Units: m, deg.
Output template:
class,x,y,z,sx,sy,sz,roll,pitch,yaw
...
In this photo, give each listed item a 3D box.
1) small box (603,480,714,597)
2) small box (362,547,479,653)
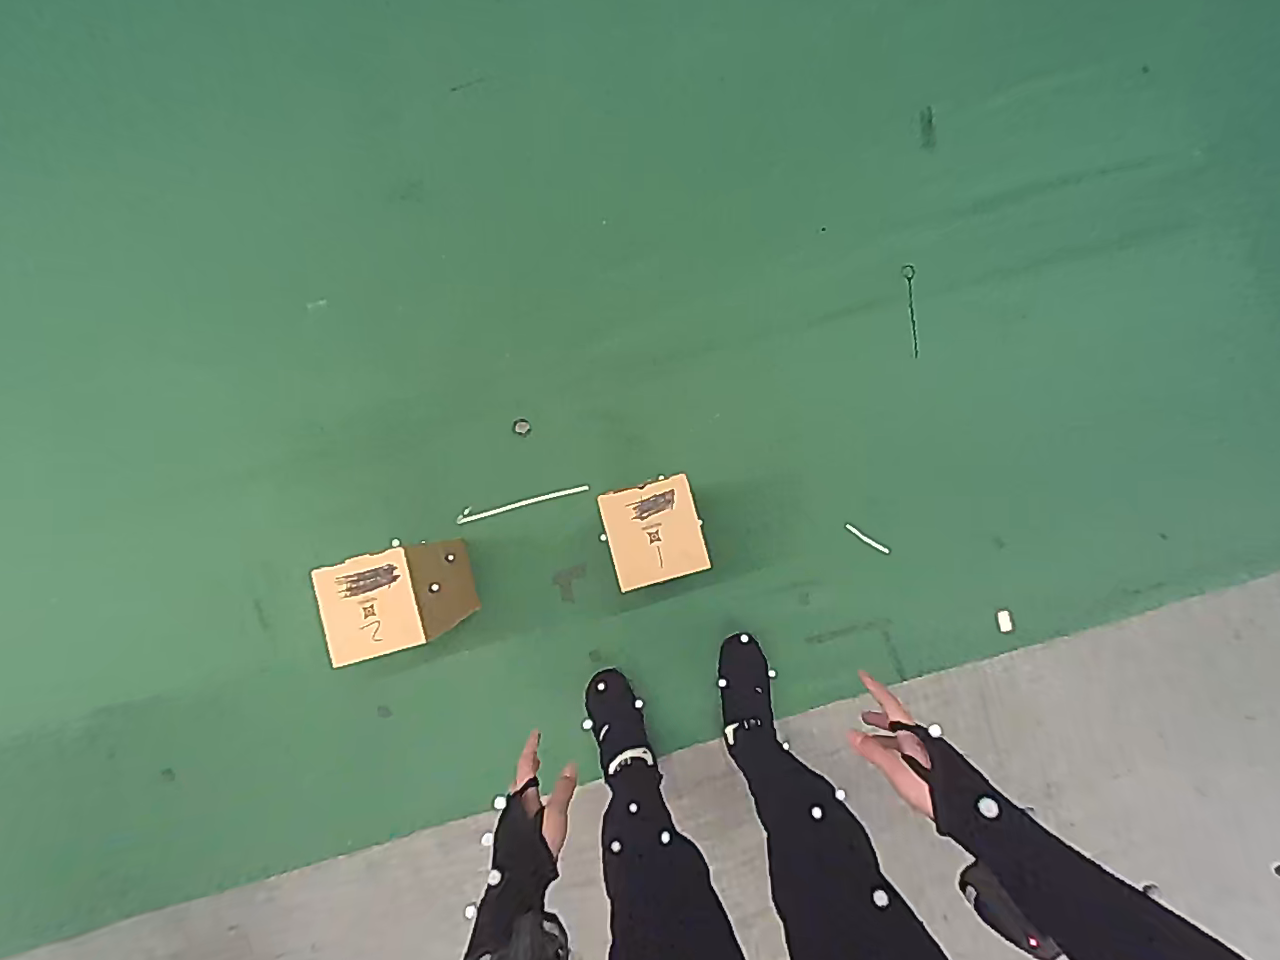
class,x,y,z,sx,sy,sz,roll,pitch,yaw
small box,0.028,0.110,1.026,0.168,0.176,0.179,-15,86,-3
small box,-0.464,0.251,1.169,0.168,0.176,0.179,-15,85,-2
